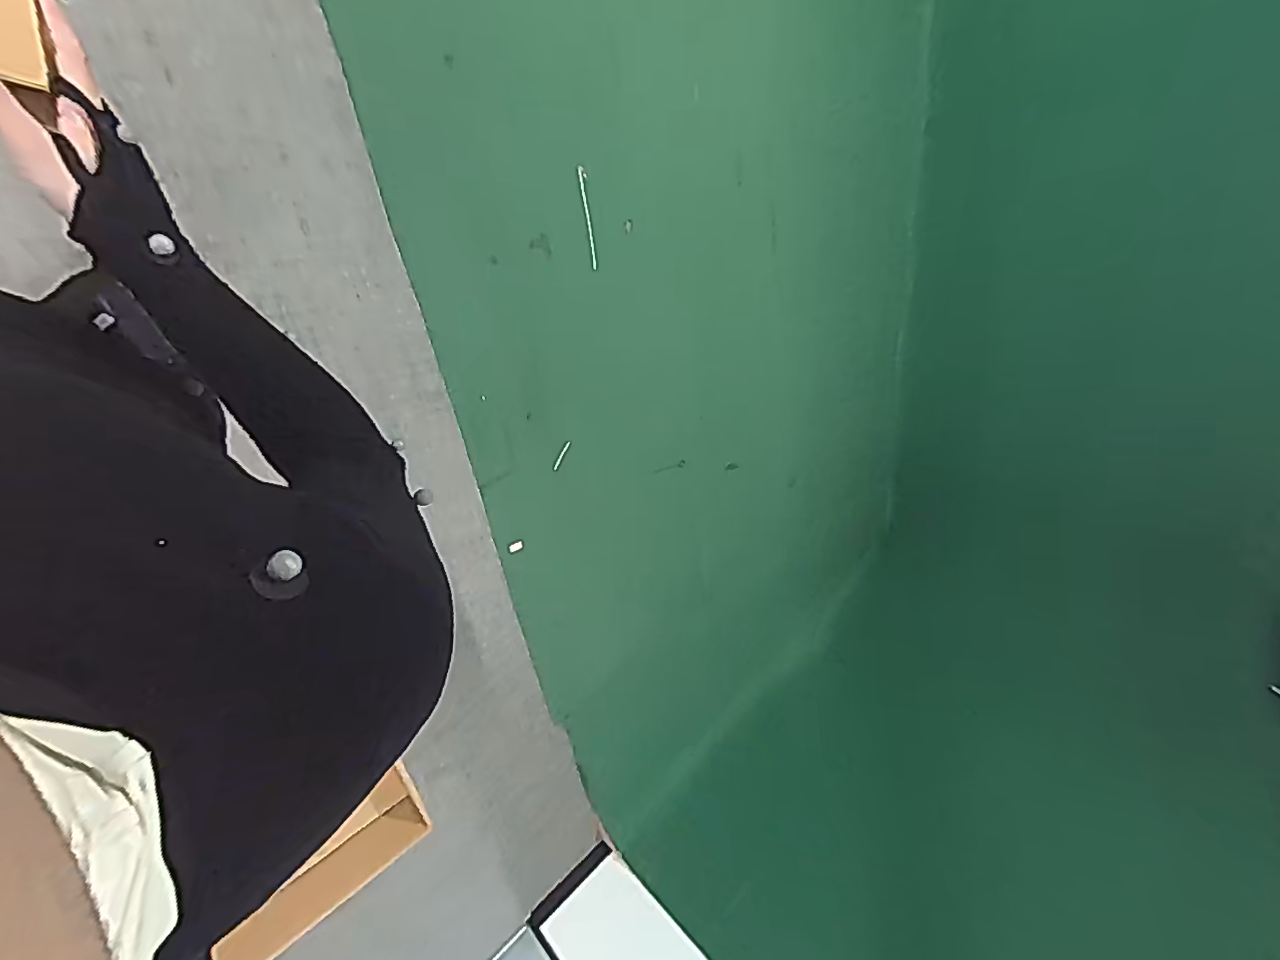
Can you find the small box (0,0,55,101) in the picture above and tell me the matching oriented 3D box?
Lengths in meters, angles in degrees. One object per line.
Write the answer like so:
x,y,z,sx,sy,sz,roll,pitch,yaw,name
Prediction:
-0.518,-0.387,0.354,0.168,0.176,0.179,-9,114,-43,small box
